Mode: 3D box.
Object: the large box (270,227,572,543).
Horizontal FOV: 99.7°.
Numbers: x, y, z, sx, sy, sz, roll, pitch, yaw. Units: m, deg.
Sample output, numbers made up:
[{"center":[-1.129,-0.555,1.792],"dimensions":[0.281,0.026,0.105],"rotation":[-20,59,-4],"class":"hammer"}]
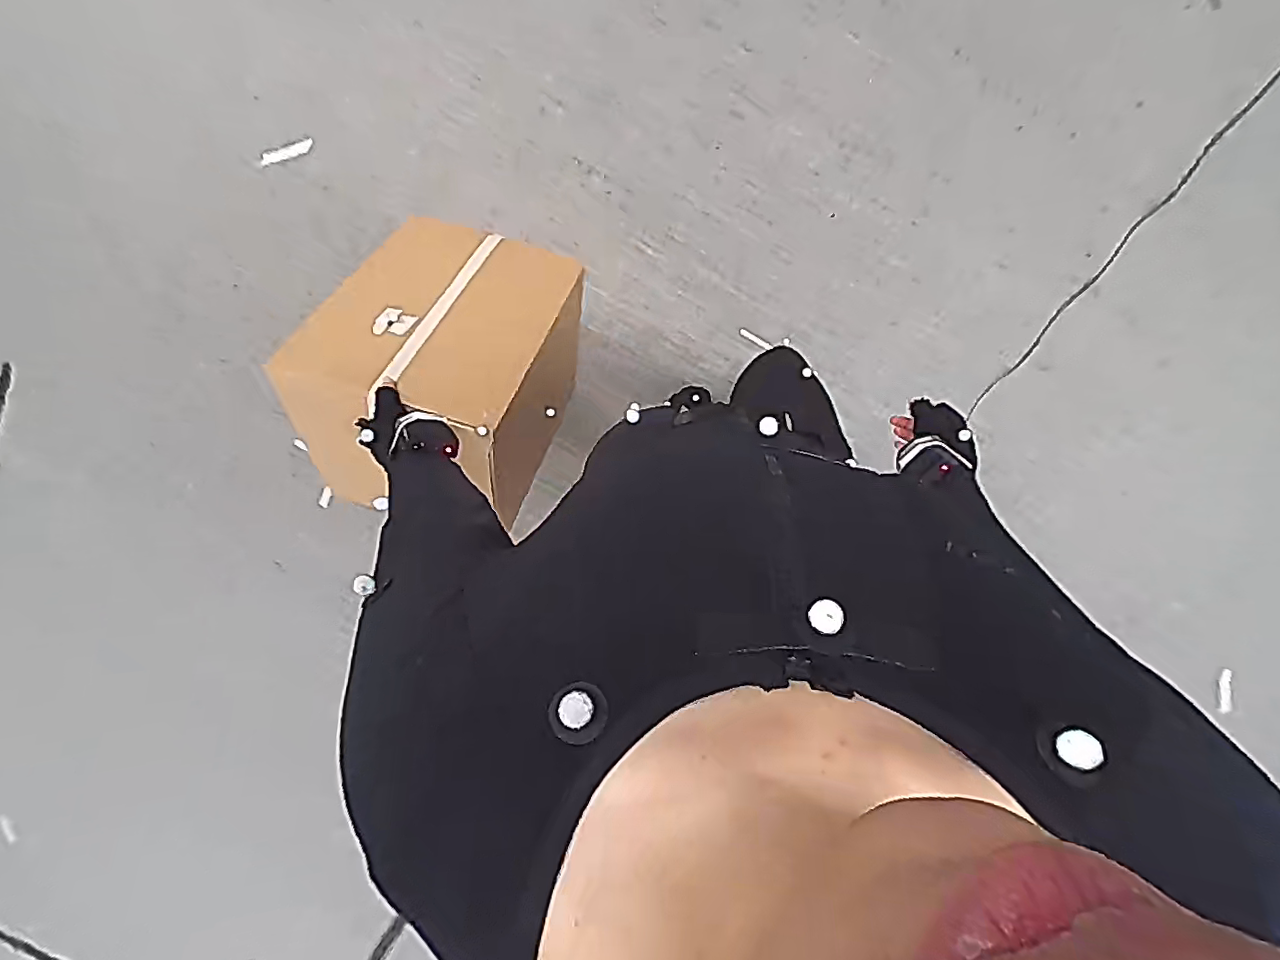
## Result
[{"center":[-0.328,-0.163,0.949],"dimensions":[0.320,0.408,0.320],"rotation":[15,145,1],"class":"large box"}]
